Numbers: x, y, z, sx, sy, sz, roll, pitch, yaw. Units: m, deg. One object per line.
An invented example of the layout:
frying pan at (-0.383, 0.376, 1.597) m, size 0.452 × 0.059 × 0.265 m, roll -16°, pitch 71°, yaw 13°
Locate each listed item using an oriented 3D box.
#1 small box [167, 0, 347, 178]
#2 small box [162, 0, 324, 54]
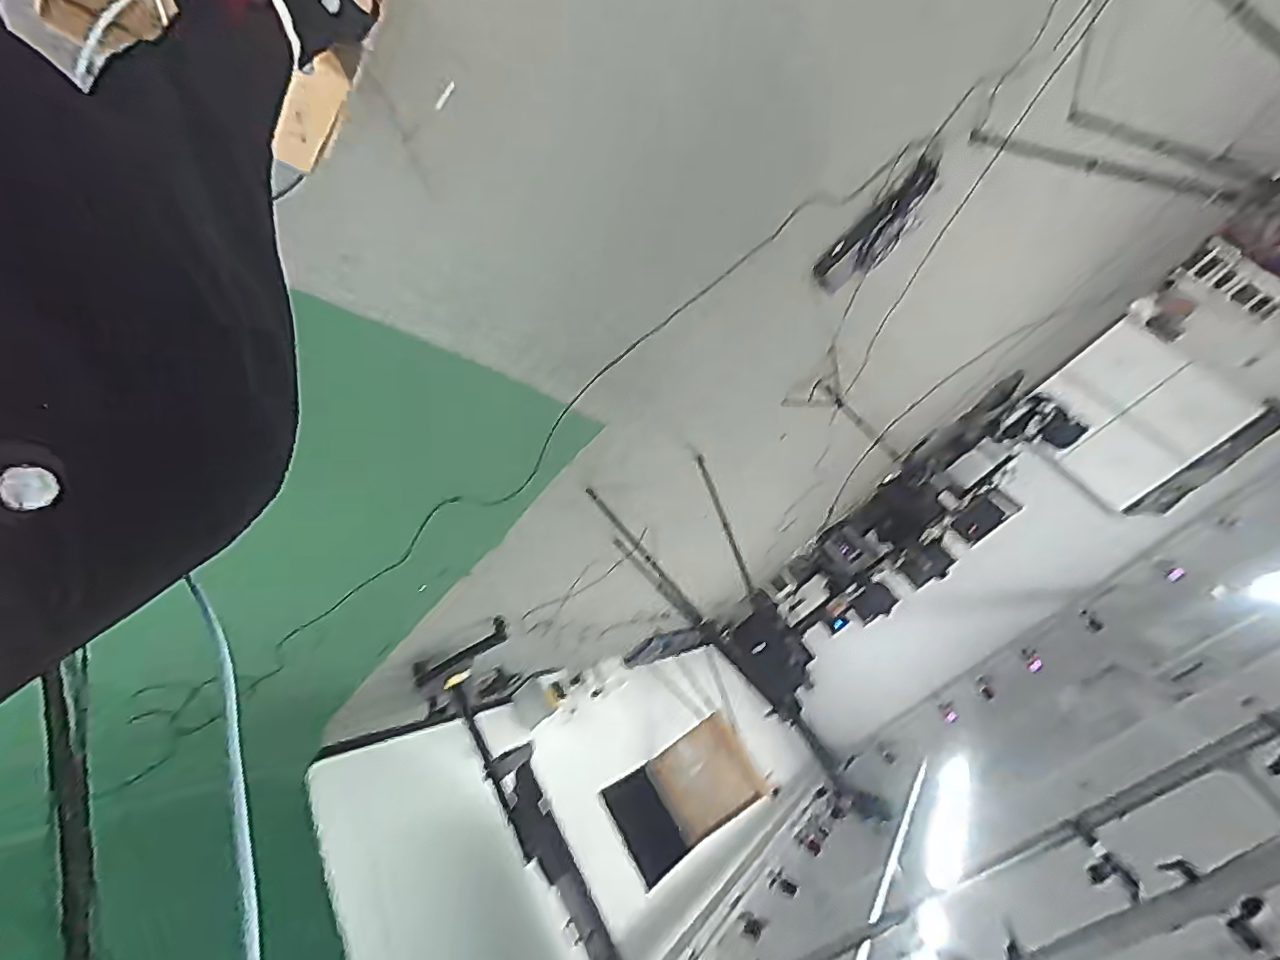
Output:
small box at (-0.603, -0.627, 0.847) m, size 0.168 × 0.176 × 0.179 m, roll -46°, pitch 151°, yaw 21°
small box at (-0.679, -0.755, 0.920) m, size 0.179 × 0.176 × 0.168 m, roll -48°, pitch 150°, yaw 20°
